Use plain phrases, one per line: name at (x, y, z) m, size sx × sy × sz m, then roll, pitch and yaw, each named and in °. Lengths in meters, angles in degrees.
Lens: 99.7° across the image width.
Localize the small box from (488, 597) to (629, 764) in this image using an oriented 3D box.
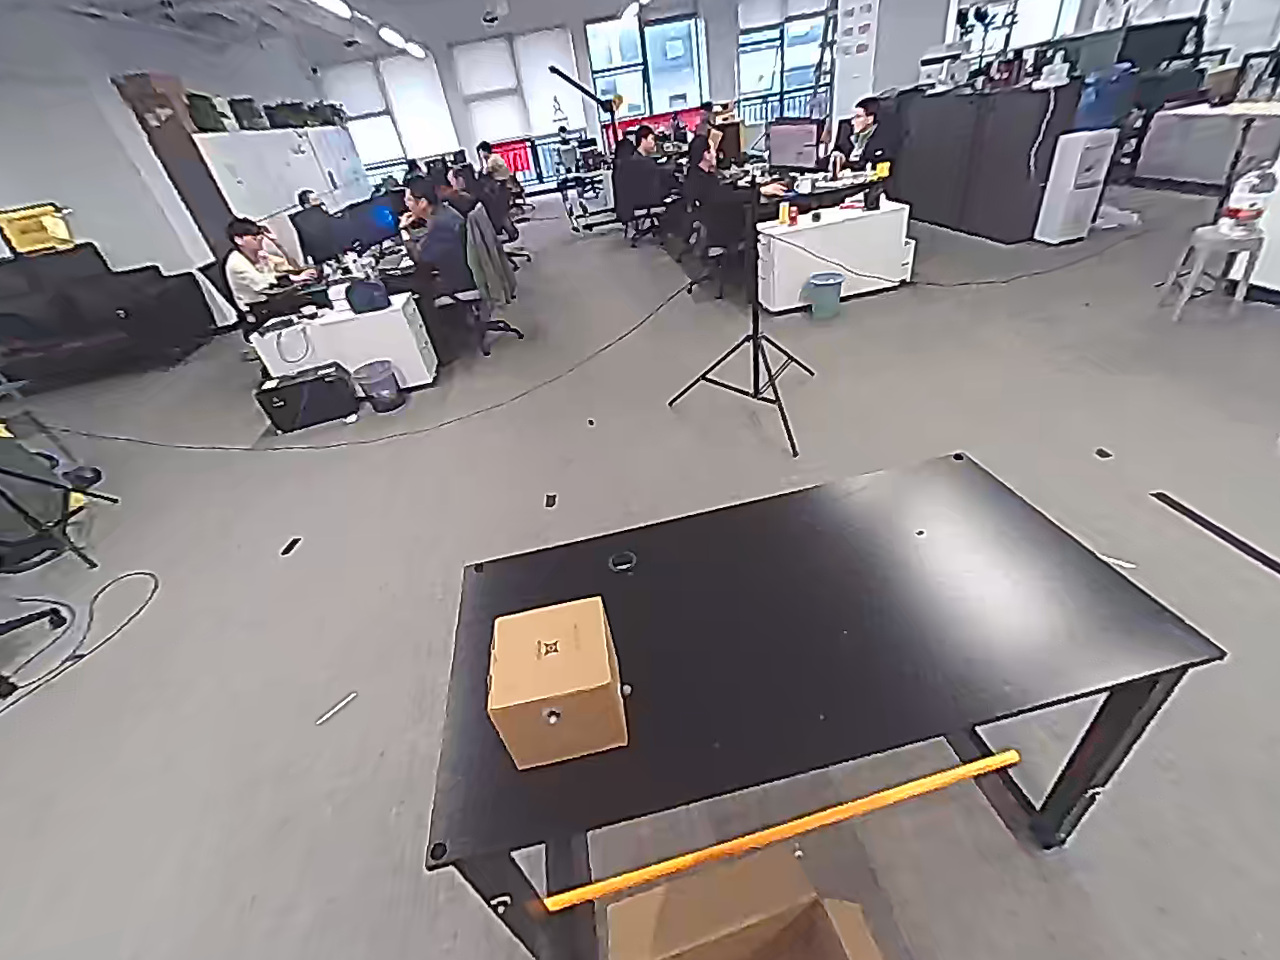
small box at (-0.123, 0.315, 0.847) m, size 0.179 × 0.176 × 0.168 m, roll -11°, pitch 36°, yaw -4°
